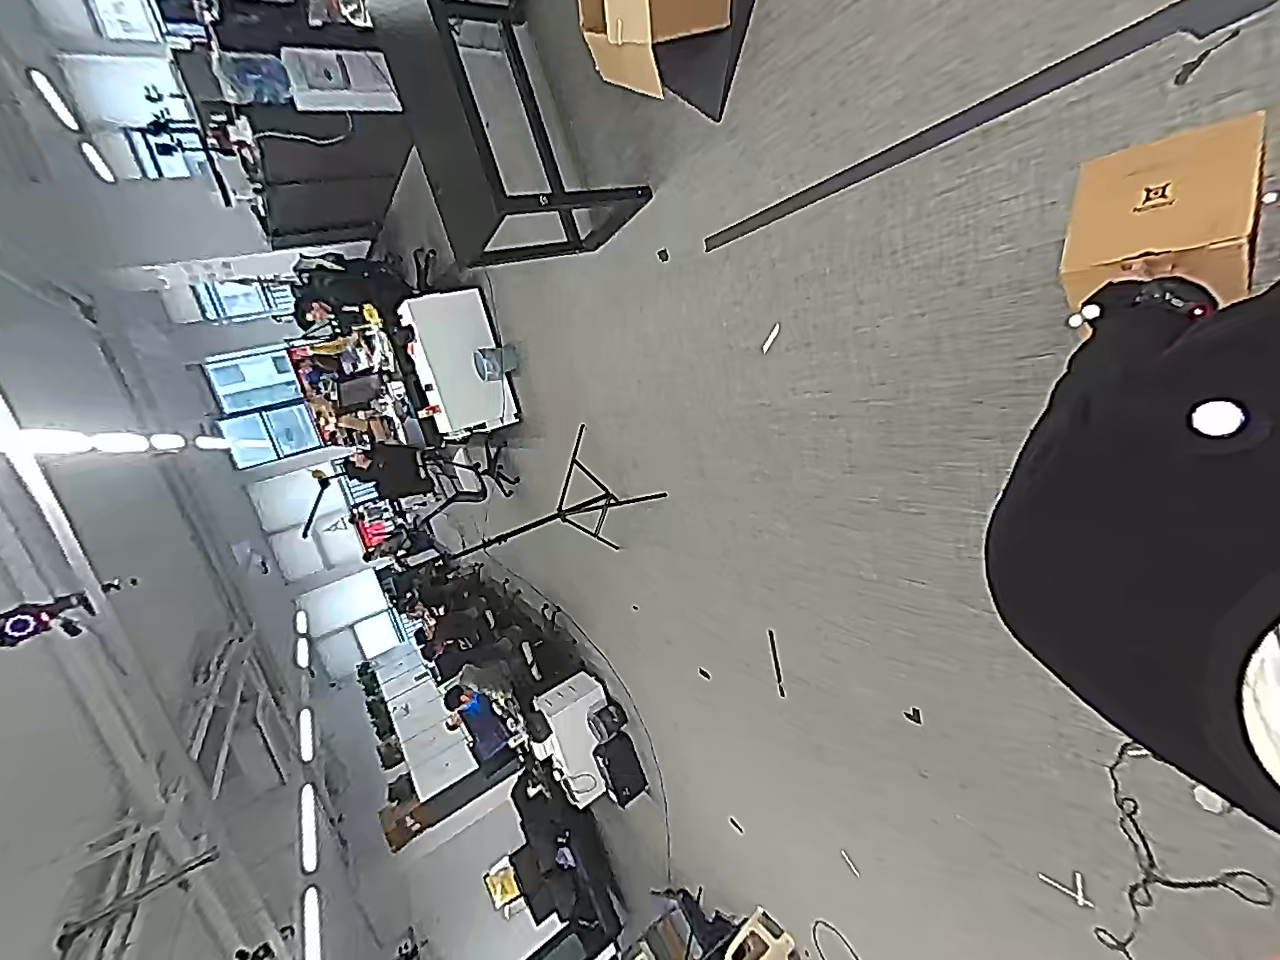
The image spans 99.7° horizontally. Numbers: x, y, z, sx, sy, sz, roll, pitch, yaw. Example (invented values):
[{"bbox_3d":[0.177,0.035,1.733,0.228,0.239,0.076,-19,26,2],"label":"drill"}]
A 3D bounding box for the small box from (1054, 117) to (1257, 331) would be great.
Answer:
[{"bbox_3d":[0.672,-0.311,0.708,0.168,0.176,0.179,7,73,47],"label":"small box"}]
